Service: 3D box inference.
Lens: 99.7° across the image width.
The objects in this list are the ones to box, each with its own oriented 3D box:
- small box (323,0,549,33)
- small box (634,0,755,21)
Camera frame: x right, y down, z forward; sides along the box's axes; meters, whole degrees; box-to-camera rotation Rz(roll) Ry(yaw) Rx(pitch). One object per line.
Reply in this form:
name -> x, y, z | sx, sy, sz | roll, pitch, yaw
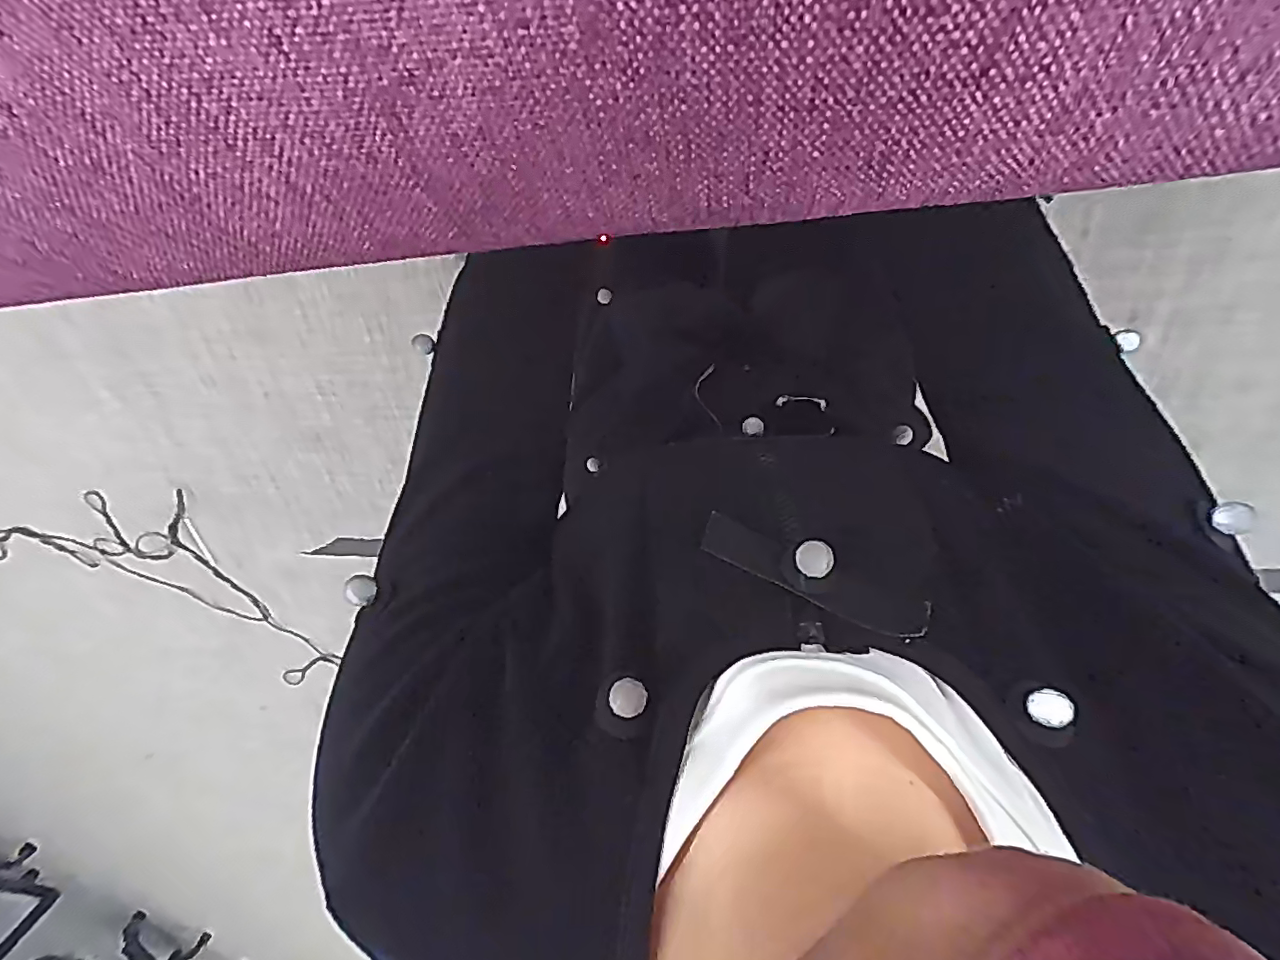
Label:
small box -> -0.181, -0.514, 0.468 | 0.179, 0.176, 0.168 | -1, 122, 11
small box -> 0.068, -0.482, 0.417 | 0.179, 0.176, 0.168 | -6, 125, 7
